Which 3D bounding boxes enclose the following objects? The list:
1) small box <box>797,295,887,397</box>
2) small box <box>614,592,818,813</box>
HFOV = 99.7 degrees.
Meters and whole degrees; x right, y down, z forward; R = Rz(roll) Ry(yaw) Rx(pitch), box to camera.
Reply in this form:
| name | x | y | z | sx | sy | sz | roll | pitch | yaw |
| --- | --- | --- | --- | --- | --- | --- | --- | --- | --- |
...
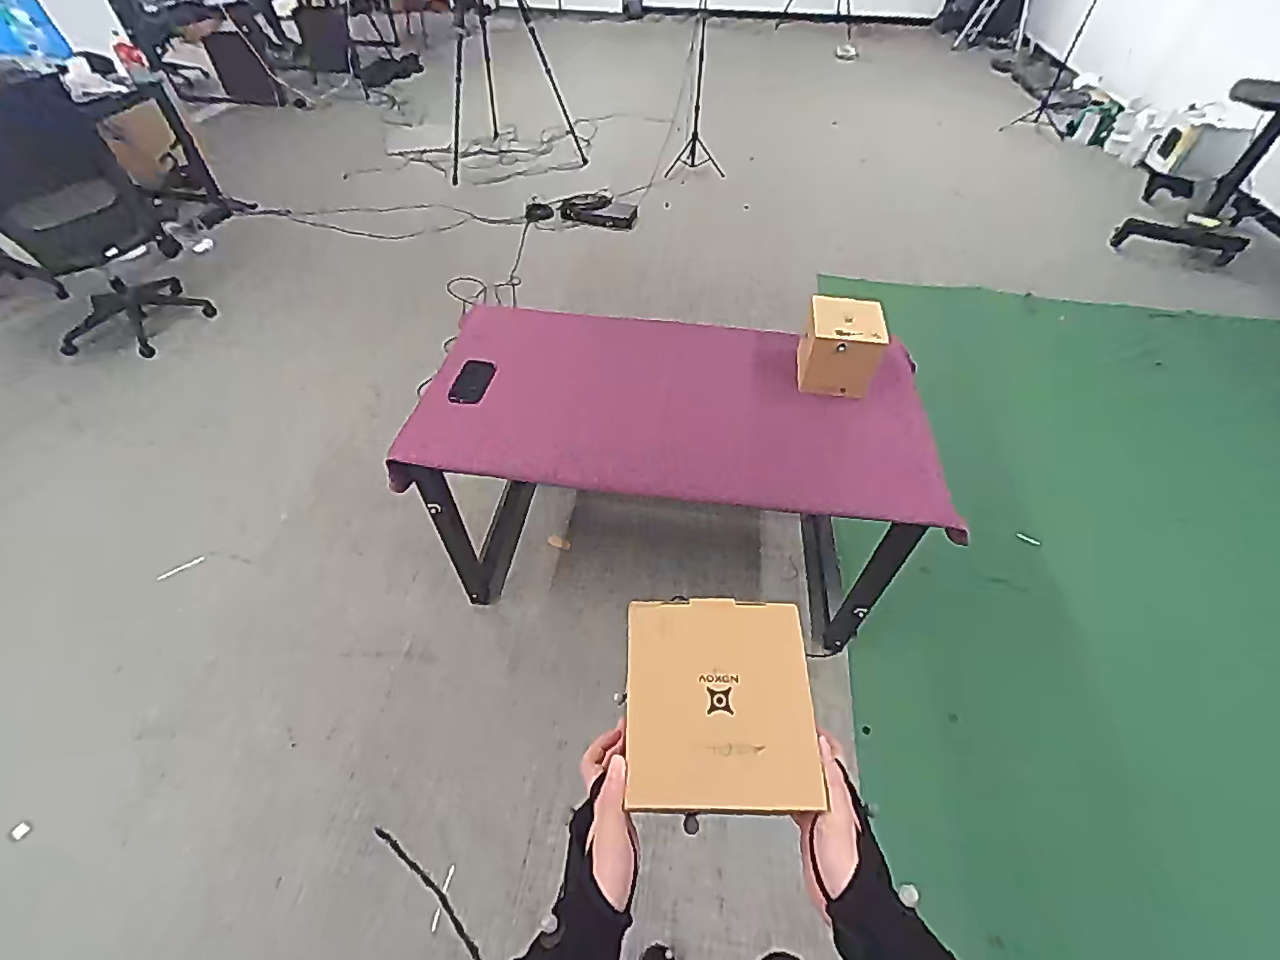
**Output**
| name | x | y | z | sx | sy | sz | roll | pitch | yaw |
| --- | --- | --- | --- | --- | --- | --- | --- | --- | --- |
| small box | 0.485 | -0.329 | 1.327 | 0.168 | 0.176 | 0.179 | 7 | 49 | 6 |
| small box | 0.062 | 0.226 | 0.540 | 0.168 | 0.176 | 0.179 | 0 | 58 | 1 |
